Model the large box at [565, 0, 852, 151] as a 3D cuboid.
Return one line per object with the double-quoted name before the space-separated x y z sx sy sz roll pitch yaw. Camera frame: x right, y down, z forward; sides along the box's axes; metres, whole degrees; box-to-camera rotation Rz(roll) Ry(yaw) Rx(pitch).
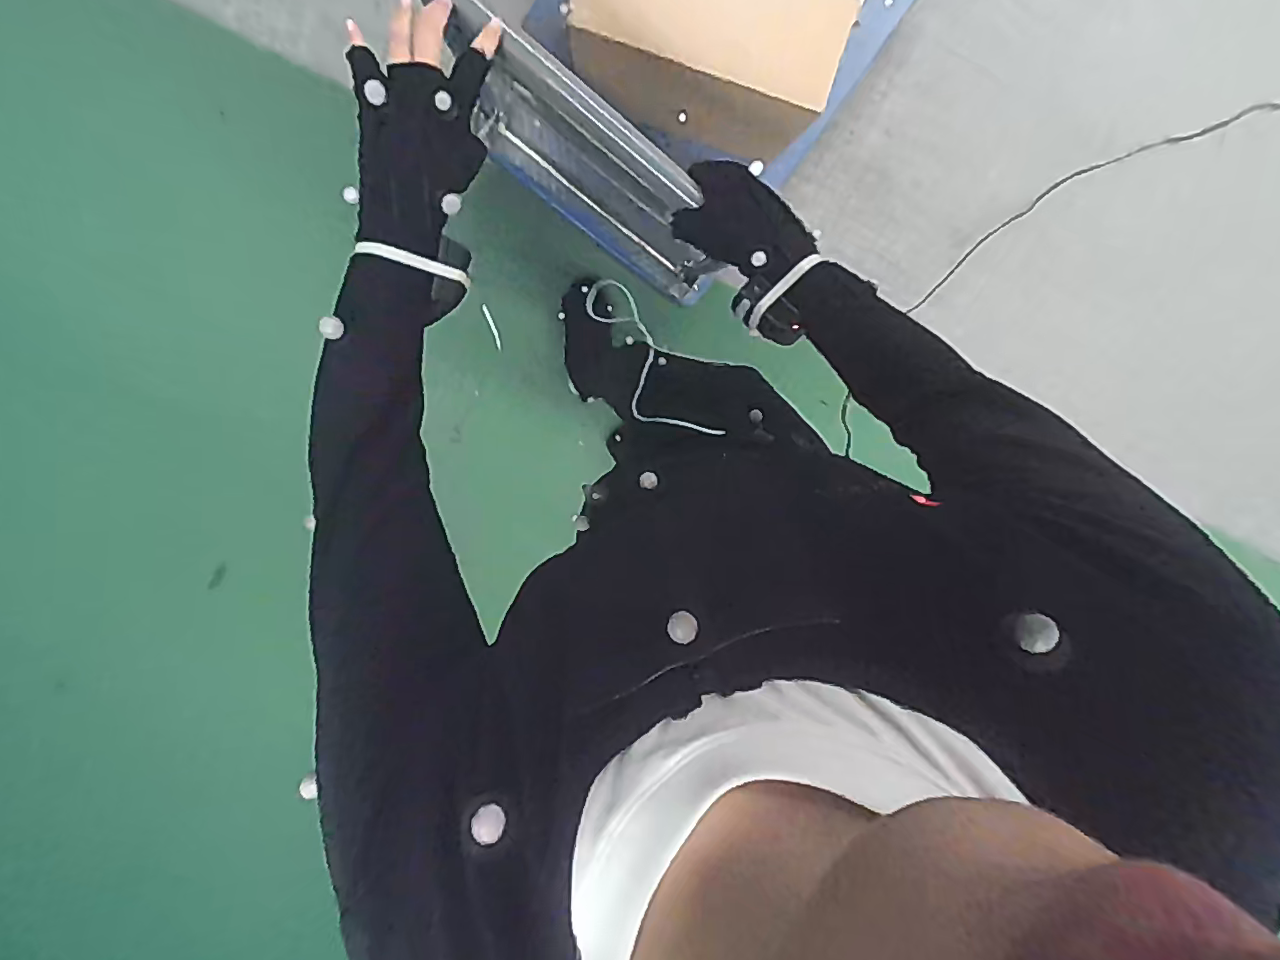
"large box" 0.118 -0.801 0.894 0.408 0.320 0.320 14 106 -7
